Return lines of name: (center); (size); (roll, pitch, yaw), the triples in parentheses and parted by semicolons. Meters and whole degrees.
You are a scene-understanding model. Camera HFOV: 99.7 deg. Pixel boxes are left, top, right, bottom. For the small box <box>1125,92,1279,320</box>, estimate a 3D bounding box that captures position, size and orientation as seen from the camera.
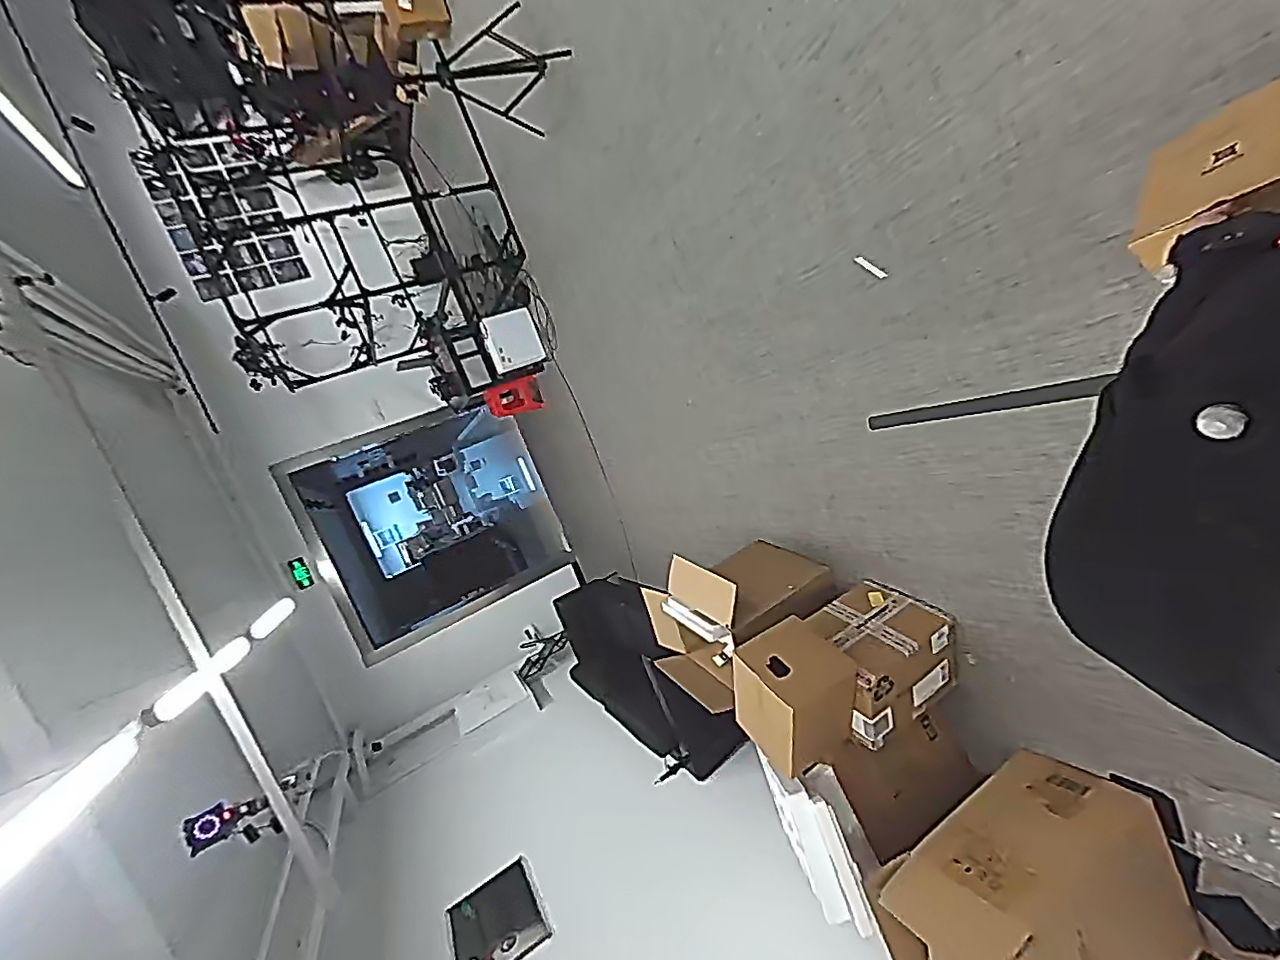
small box: (0.730, -0.317, 0.642); (0.176, 0.179, 0.168); (36, 159, -17)
